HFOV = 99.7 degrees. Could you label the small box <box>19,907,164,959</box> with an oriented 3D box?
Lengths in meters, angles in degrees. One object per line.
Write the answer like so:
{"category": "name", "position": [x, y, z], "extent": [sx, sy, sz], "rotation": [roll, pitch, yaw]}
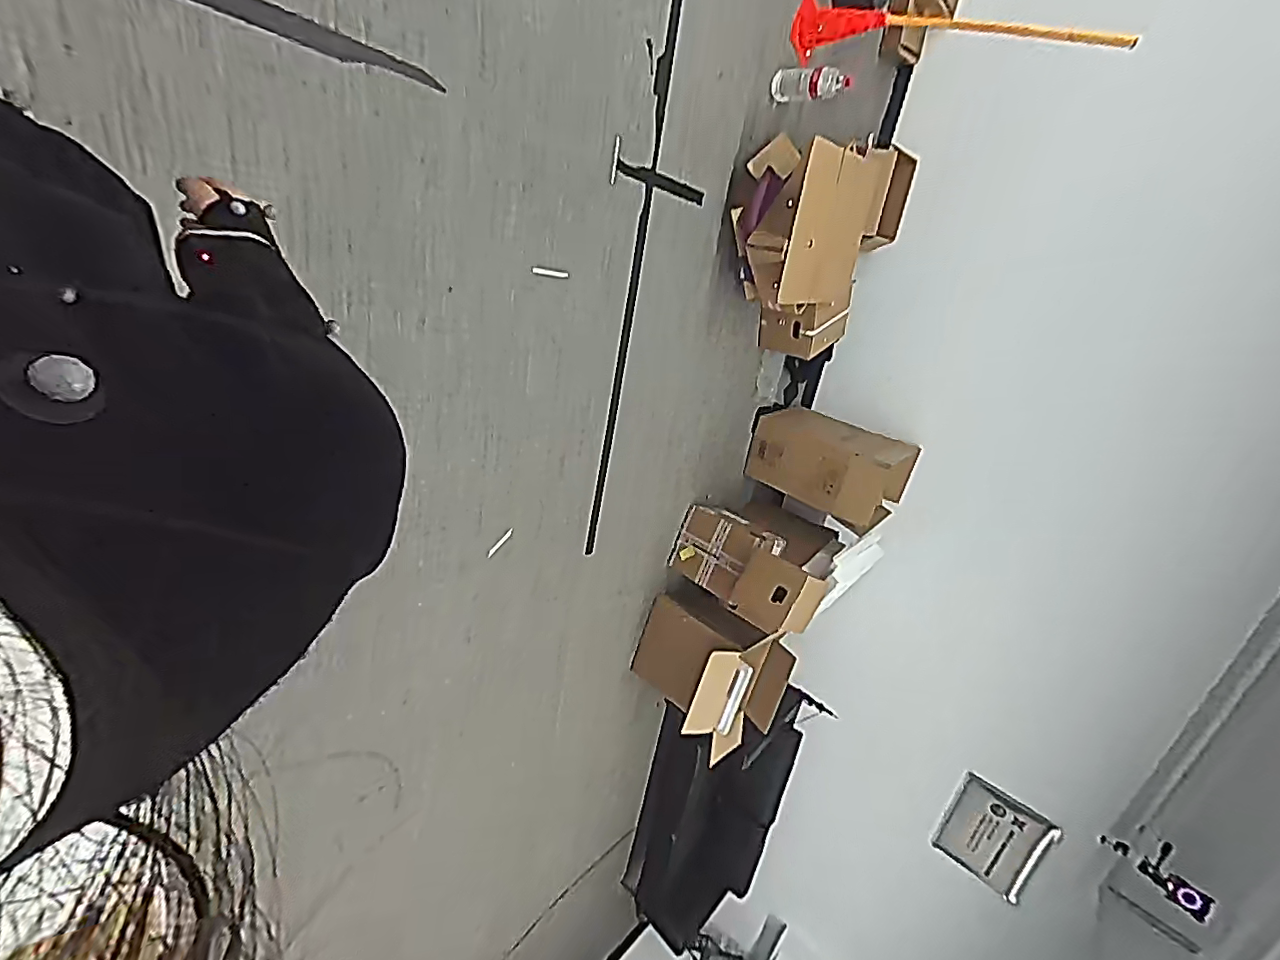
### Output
{"category": "small box", "position": [-0.867, 0.830, 0.850], "extent": [0.168, 0.176, 0.179], "rotation": [-7, 117, -50]}
